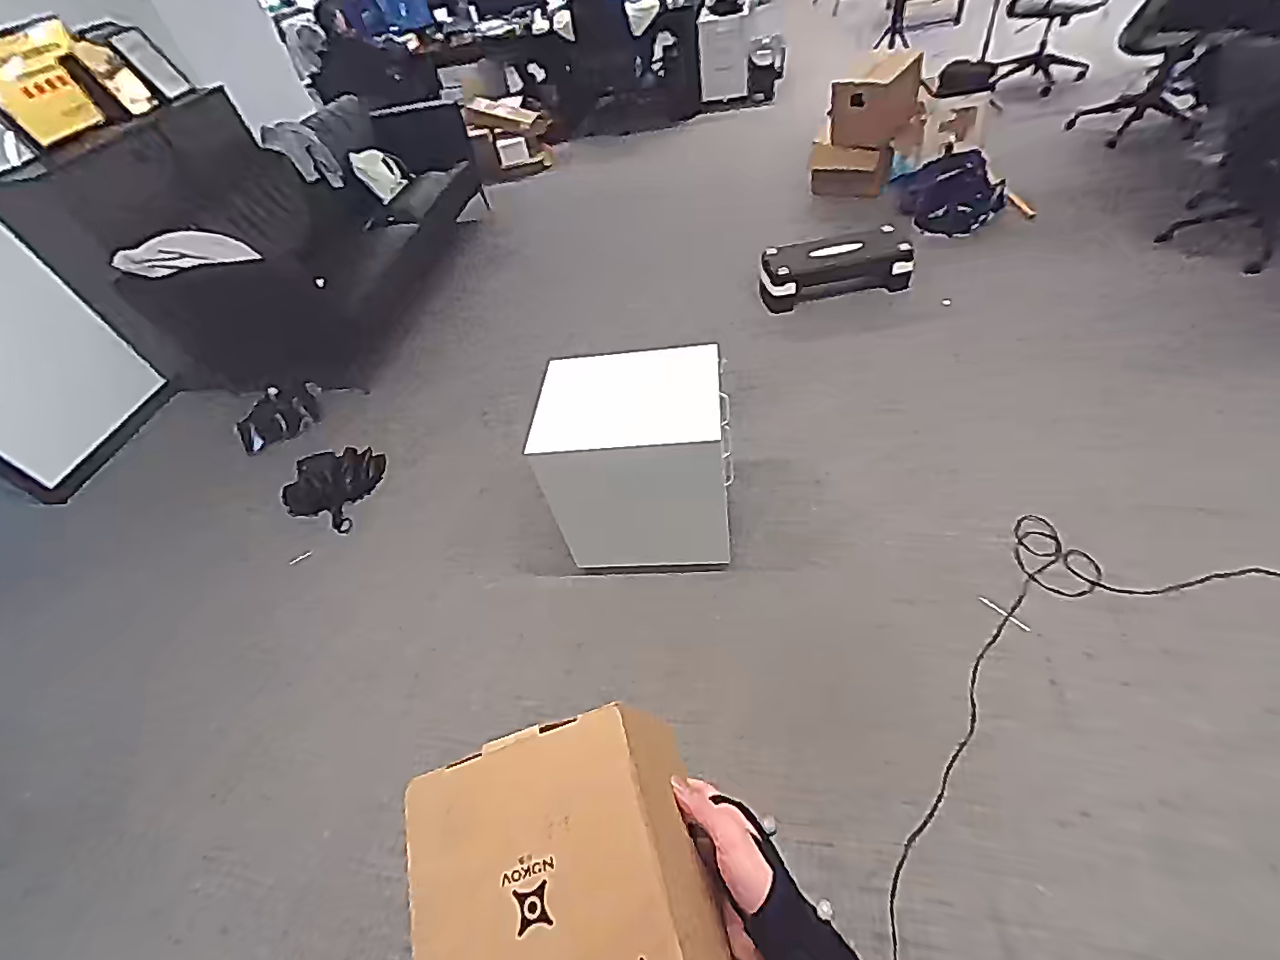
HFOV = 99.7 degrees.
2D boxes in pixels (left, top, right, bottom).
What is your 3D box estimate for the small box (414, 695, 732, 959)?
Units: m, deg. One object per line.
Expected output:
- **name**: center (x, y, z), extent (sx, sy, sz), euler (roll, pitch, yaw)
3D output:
- **small box**: center (-0.044, 0.287, 0.403), extent (0.168, 0.176, 0.179), euler (-23, 56, 4)
